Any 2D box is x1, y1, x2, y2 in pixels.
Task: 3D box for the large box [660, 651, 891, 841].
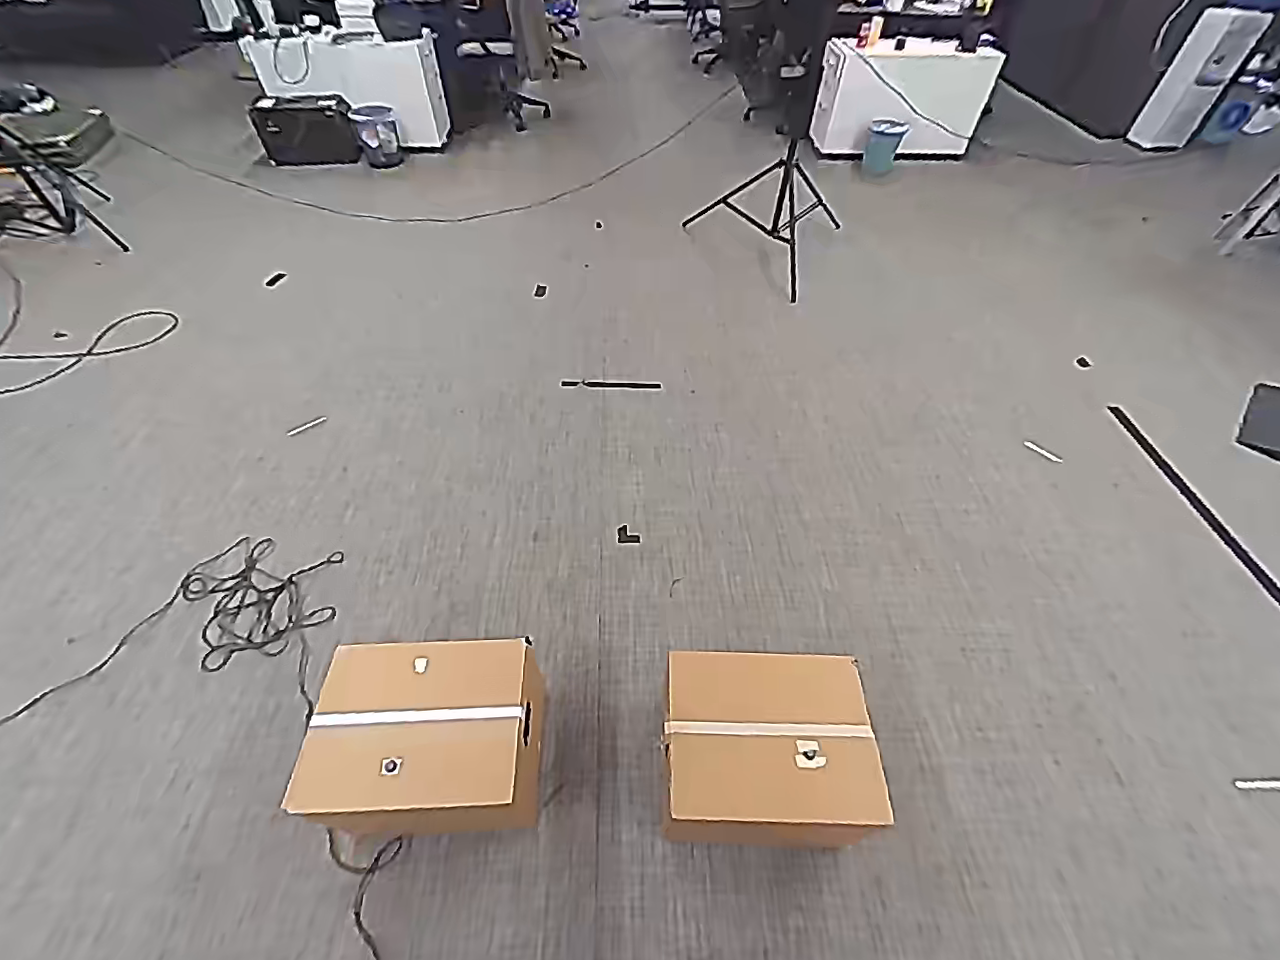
[{"bbox_3d":[0.256,0.589,1.188,0.408,0.320,0.320,2,50,-1],"label":"large box"}]
